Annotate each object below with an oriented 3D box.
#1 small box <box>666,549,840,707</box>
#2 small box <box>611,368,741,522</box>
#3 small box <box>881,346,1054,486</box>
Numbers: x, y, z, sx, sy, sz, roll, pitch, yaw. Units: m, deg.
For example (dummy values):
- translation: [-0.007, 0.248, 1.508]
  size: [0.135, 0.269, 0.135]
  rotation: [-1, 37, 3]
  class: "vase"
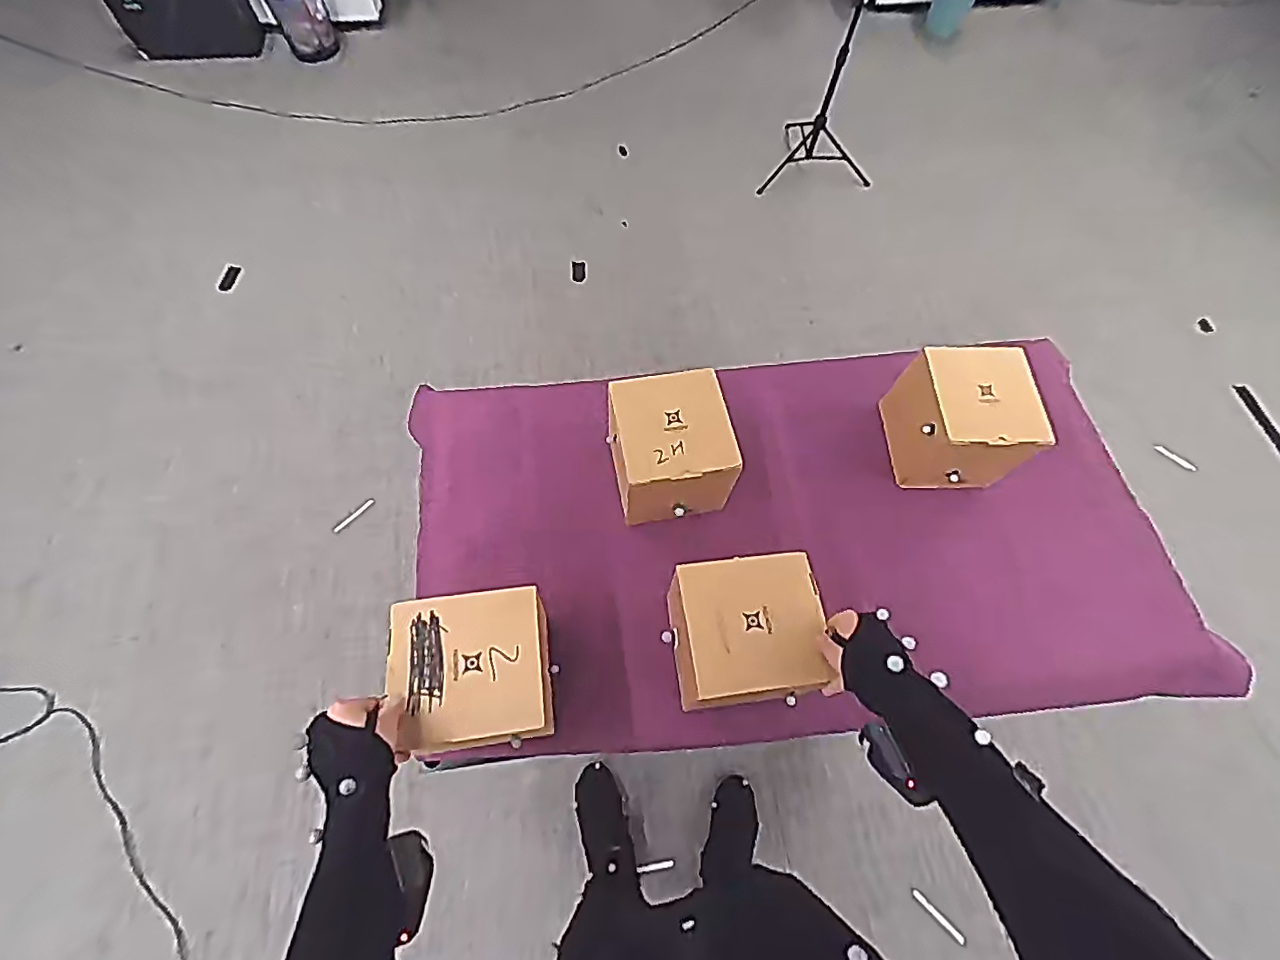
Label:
- translation: [0.139, 0.206, 0.737]
  size: [0.179, 0.176, 0.168]
  rotation: [-5, 62, -6]
  class: "small box"
- translation: [0.045, -0.051, 0.861]
  size: [0.168, 0.176, 0.179]
  rotation: [-9, 66, -6]
  class: "small box"
- translation: [0.528, -0.103, 0.904]
  size: [0.168, 0.176, 0.179]
  rotation: [-1, 66, -2]
  class: "small box"
